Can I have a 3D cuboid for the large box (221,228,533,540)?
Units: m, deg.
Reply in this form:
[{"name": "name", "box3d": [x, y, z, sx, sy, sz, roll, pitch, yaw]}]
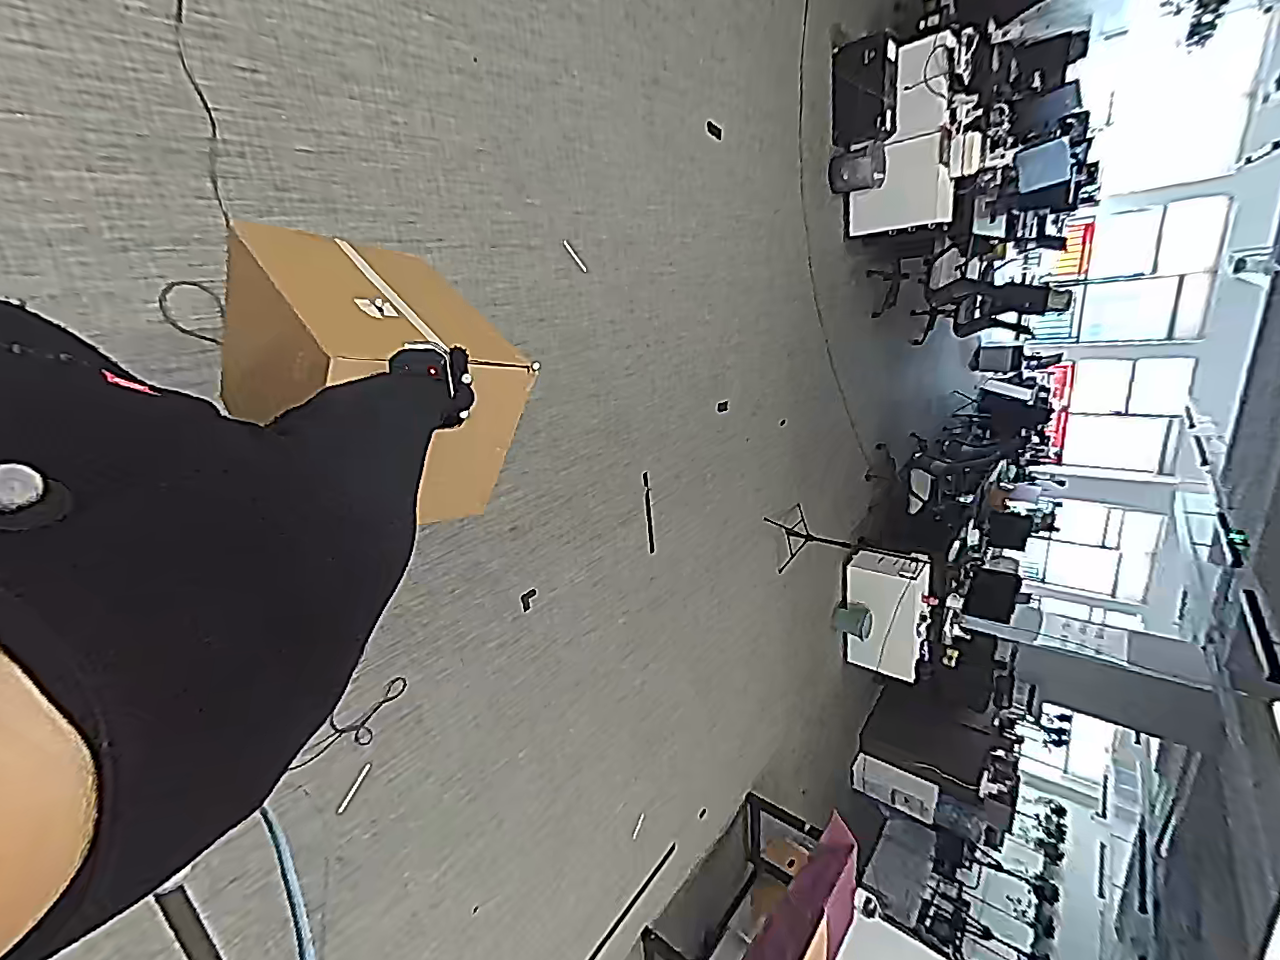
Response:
[{"name": "large box", "box3d": [-0.463, -0.162, 0.926, 0.320, 0.408, 0.320, -10, 138, -49]}]
